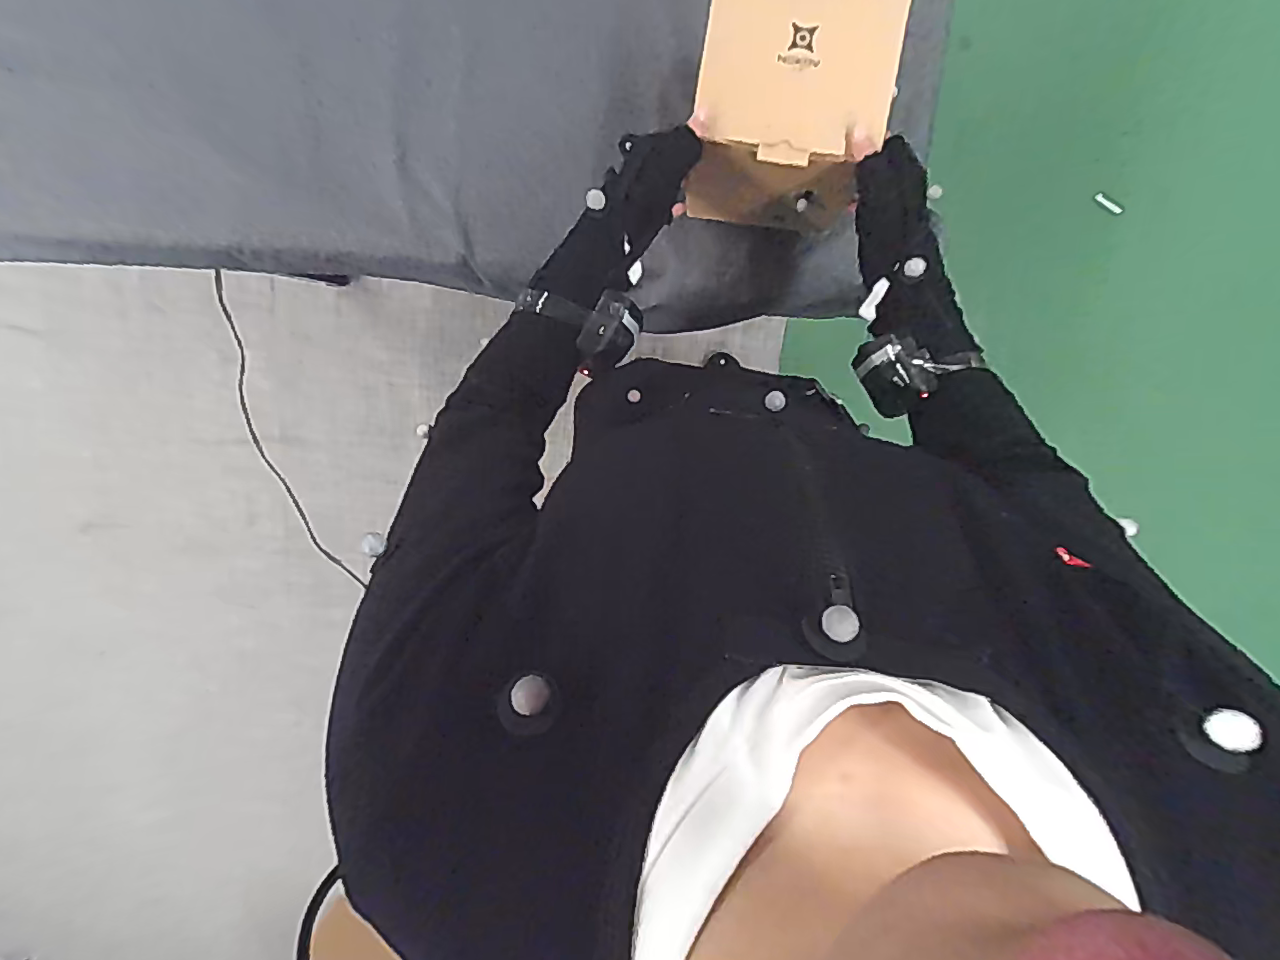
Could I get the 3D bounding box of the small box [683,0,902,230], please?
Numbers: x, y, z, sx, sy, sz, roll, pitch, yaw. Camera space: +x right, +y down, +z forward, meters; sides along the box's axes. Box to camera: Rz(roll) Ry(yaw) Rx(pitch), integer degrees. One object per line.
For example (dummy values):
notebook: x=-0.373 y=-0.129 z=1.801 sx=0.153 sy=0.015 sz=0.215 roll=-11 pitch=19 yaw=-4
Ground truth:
small box: x=0.135 y=-0.371 z=0.535 sx=0.168 sy=0.176 sz=0.179 roll=8 pitch=94 yaw=2
